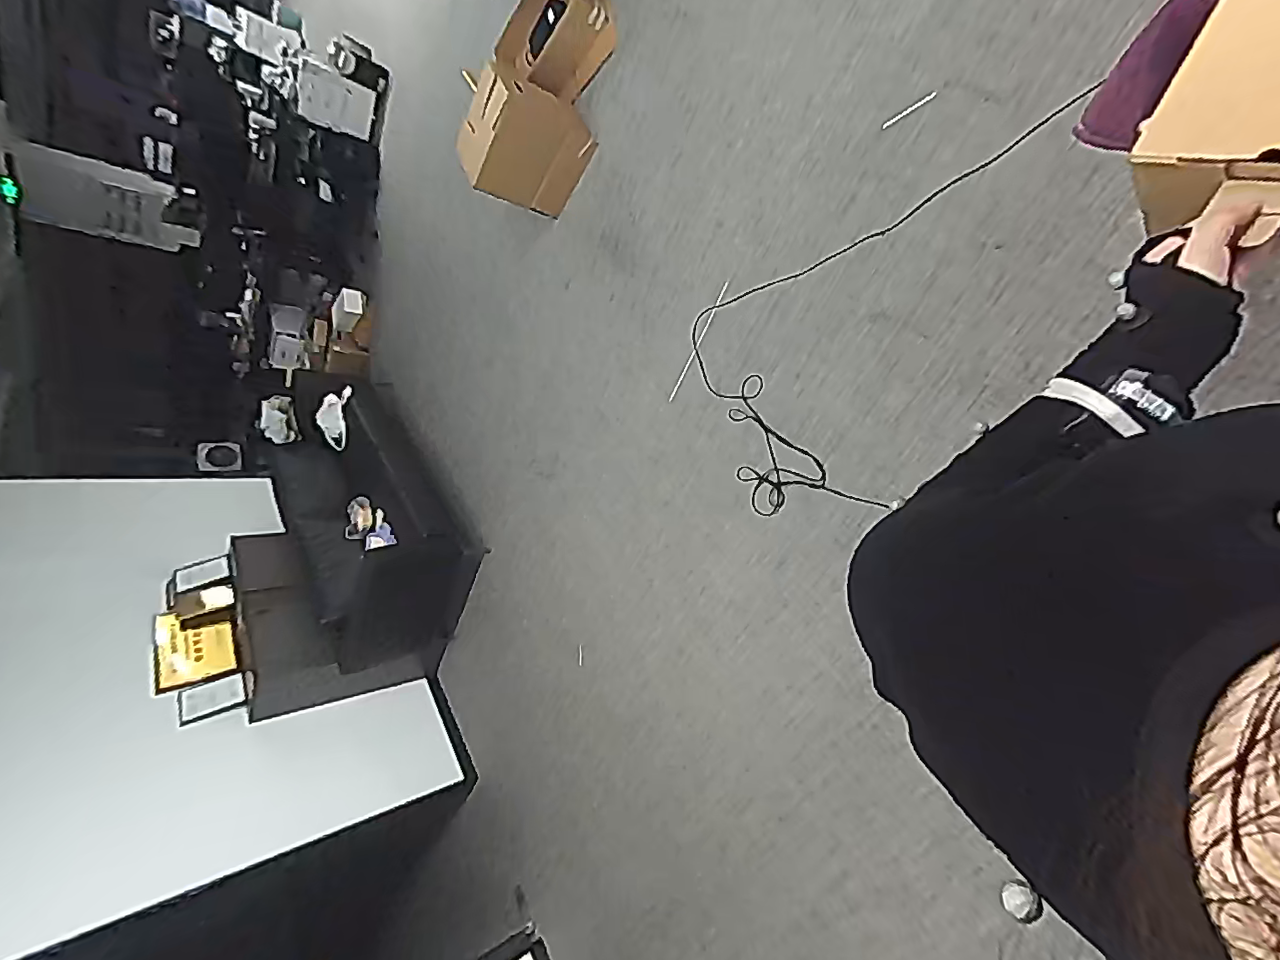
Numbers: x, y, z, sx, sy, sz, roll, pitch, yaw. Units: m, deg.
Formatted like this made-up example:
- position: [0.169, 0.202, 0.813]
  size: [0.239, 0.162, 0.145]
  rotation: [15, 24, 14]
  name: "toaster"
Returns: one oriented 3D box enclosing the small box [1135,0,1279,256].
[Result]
- position: [0.534, -0.292, 0.415]
  size: [0.168, 0.176, 0.179]
  rotation: [39, 113, 43]
  name: "small box"
